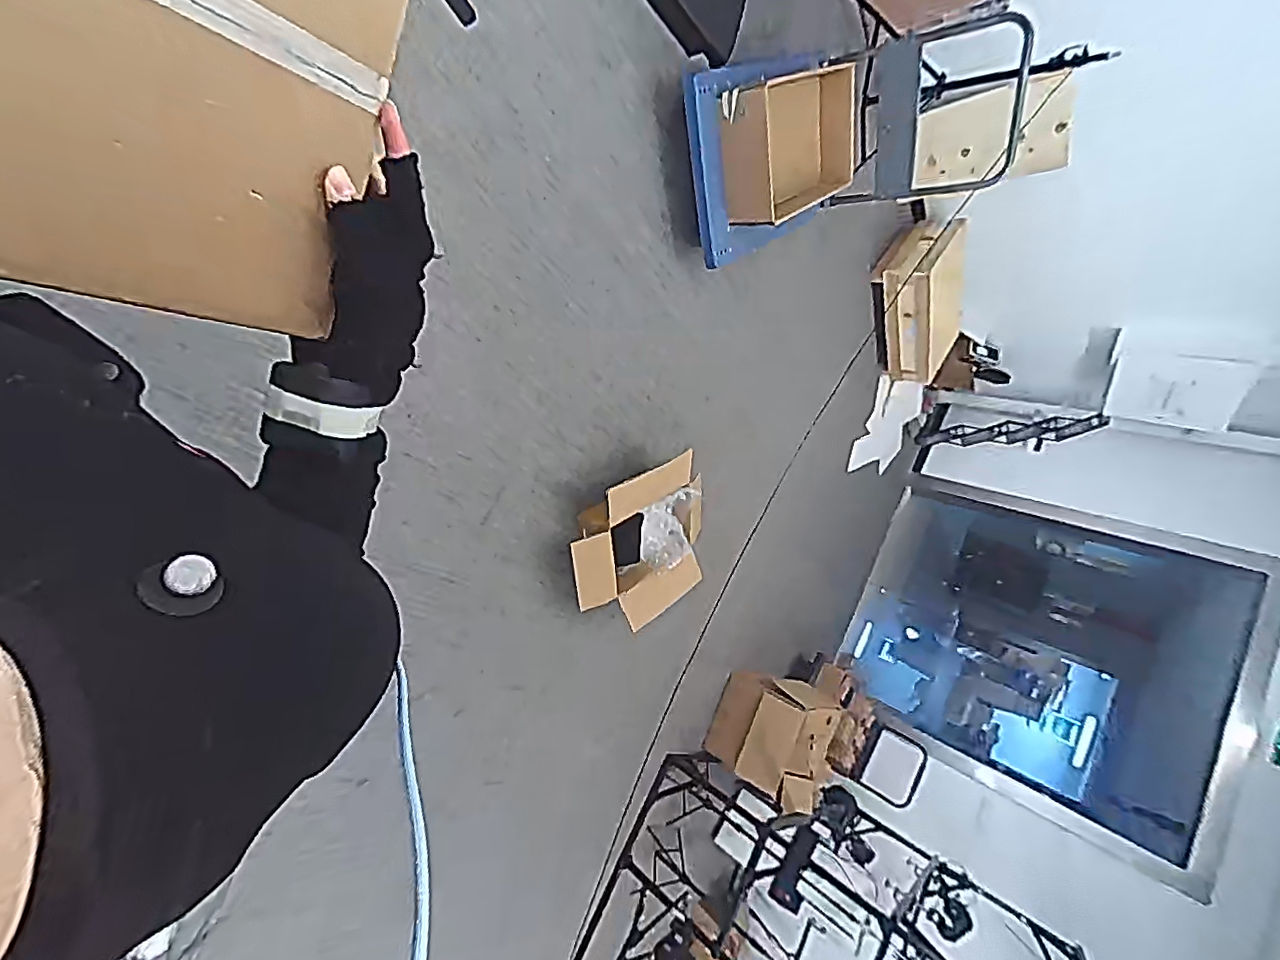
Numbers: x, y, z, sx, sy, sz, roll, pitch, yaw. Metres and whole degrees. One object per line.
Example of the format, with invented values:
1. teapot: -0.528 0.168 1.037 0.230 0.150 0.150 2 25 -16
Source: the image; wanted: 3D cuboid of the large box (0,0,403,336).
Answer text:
1. large box: -0.389 -0.309 0.269 0.408 0.320 0.320 2 121 -49
